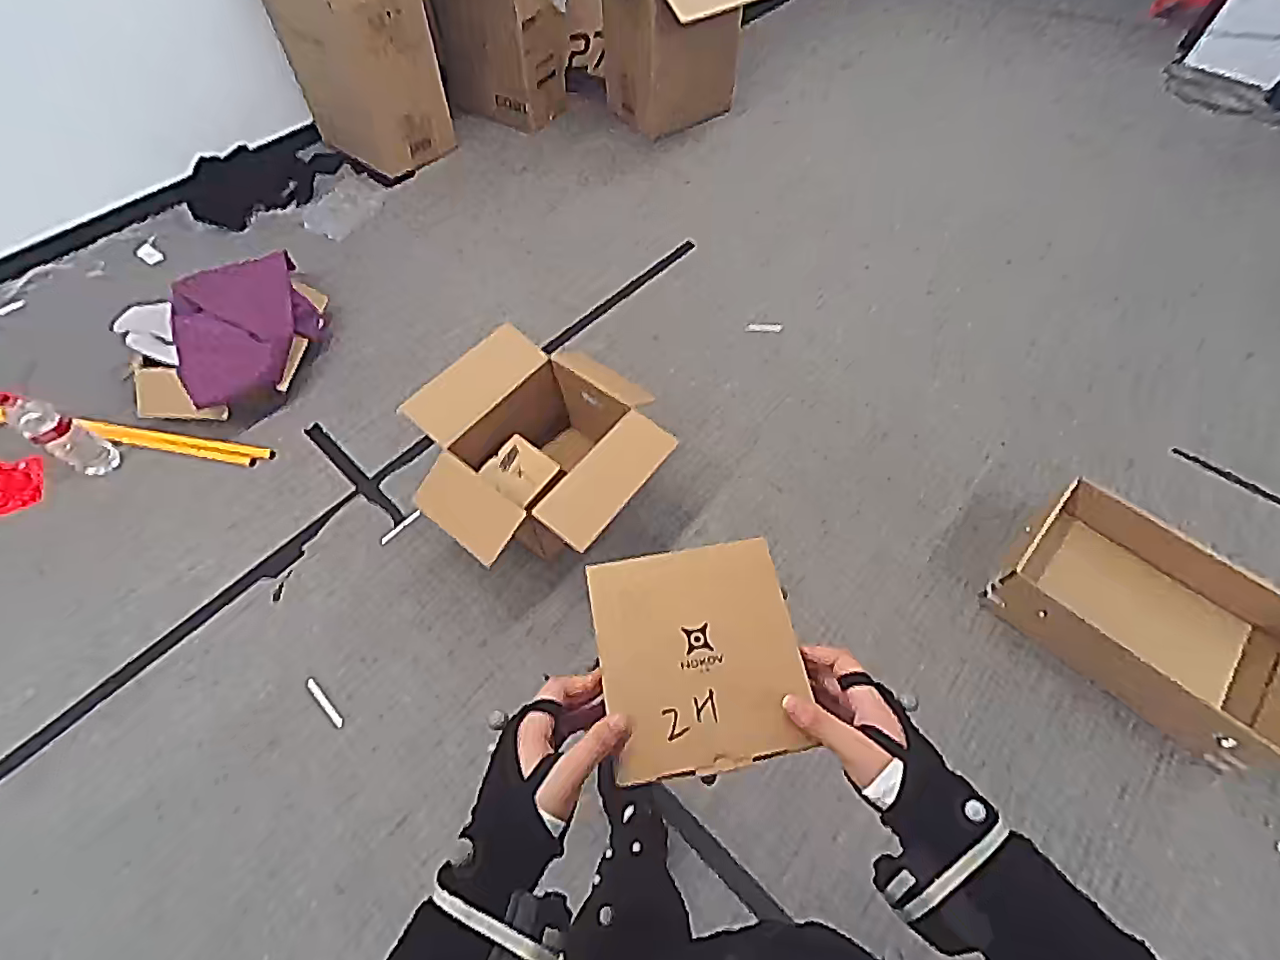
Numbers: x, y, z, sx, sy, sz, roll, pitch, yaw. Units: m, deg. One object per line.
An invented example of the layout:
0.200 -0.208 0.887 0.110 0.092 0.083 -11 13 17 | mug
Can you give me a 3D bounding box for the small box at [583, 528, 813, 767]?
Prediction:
0.040 0.167 0.521 0.168 0.176 0.179 -9 63 -5 | small box
